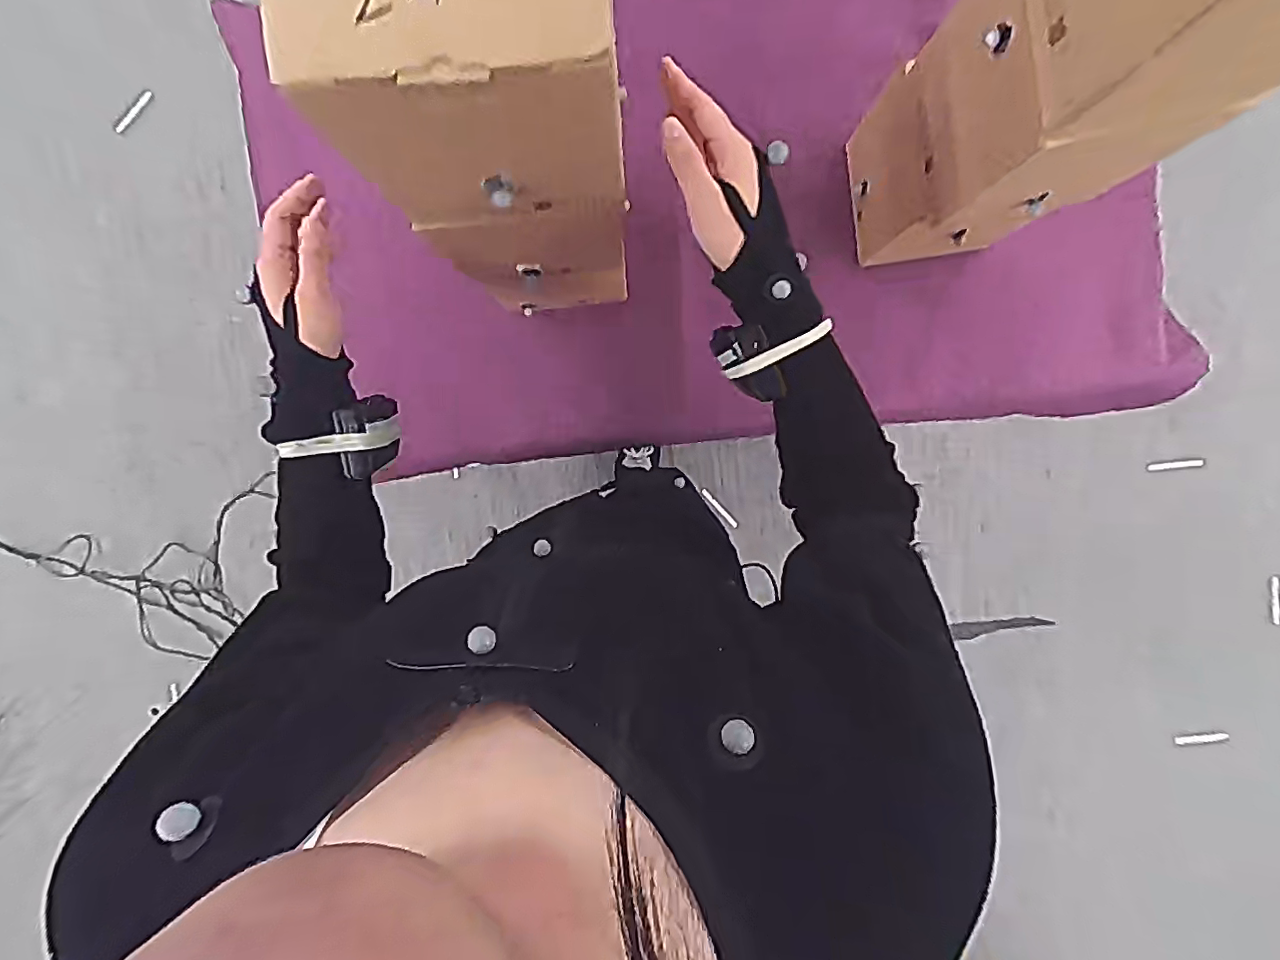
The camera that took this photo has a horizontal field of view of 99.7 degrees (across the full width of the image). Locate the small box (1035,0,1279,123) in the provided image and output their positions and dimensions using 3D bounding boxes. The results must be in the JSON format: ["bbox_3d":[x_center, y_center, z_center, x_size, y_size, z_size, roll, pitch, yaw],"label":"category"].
[{"bbox_3d":[0.376,-0.356,0.329,0.179,0.176,0.168,-11,94,1],"label":"small box"}]

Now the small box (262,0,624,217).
[{"bbox_3d":[-0.097,-0.287,0.329,0.168,0.176,0.179,-4,94,1],"label":"small box"}]

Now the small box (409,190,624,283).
[{"bbox_3d":[-0.104,-0.297,0.493,0.168,0.176,0.179,-5,95,0],"label":"small box"}]

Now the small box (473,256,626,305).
[{"bbox_3d":[-0.108,-0.321,0.655,0.168,0.176,0.179,-6,93,0],"label":"small box"}]

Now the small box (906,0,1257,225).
[{"bbox_3d":[0.377,-0.359,0.492,0.179,0.176,0.168,-11,93,0],"label":"small box"}]
